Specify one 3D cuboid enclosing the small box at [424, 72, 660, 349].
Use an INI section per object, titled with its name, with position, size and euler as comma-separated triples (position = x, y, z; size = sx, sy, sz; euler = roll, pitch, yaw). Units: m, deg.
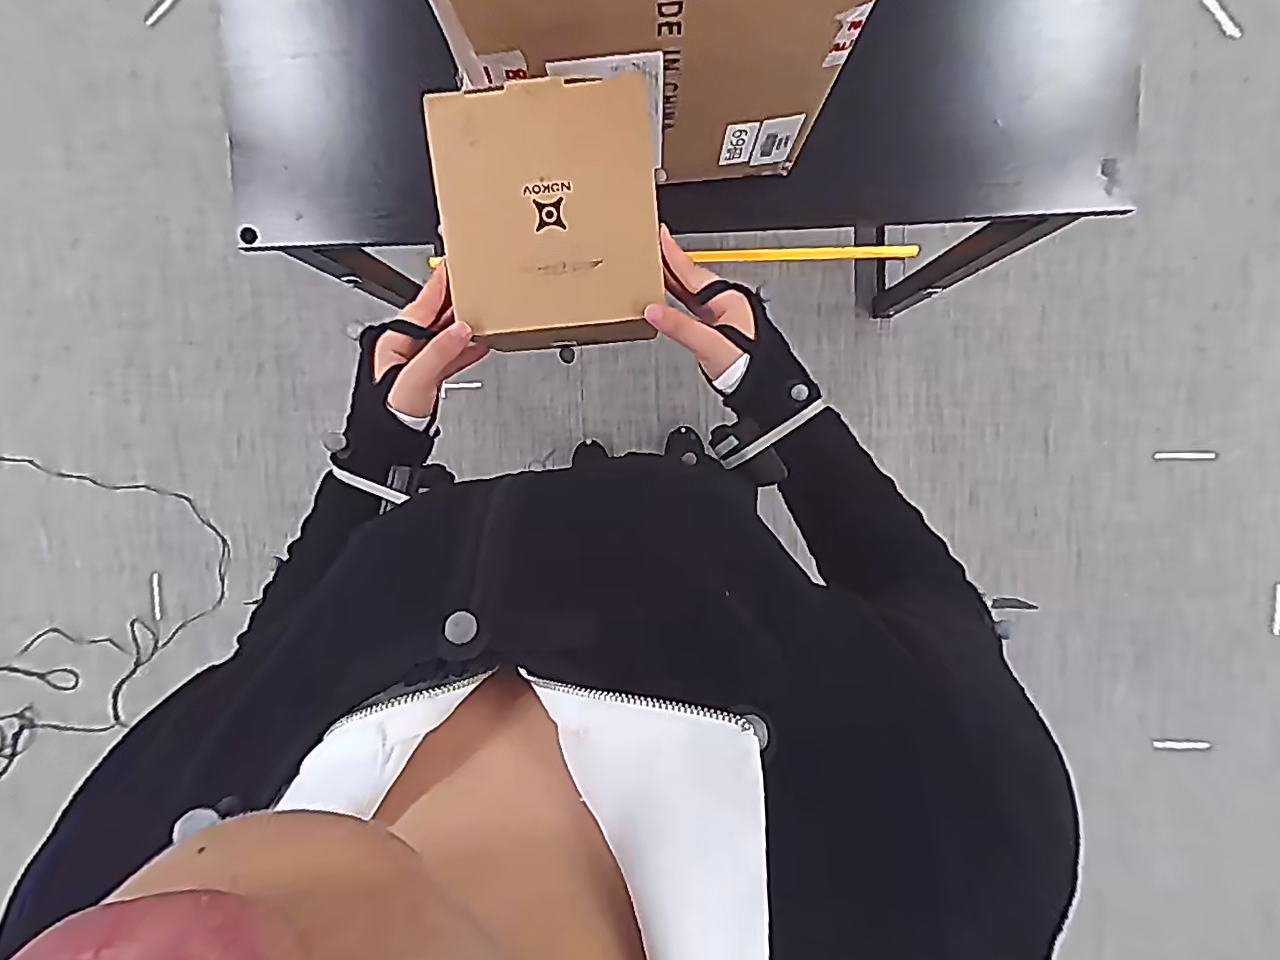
[small box]
position = -0.074, -0.220, 0.488
size = 0.168, 0.176, 0.179
euler = -5, 99, 0
